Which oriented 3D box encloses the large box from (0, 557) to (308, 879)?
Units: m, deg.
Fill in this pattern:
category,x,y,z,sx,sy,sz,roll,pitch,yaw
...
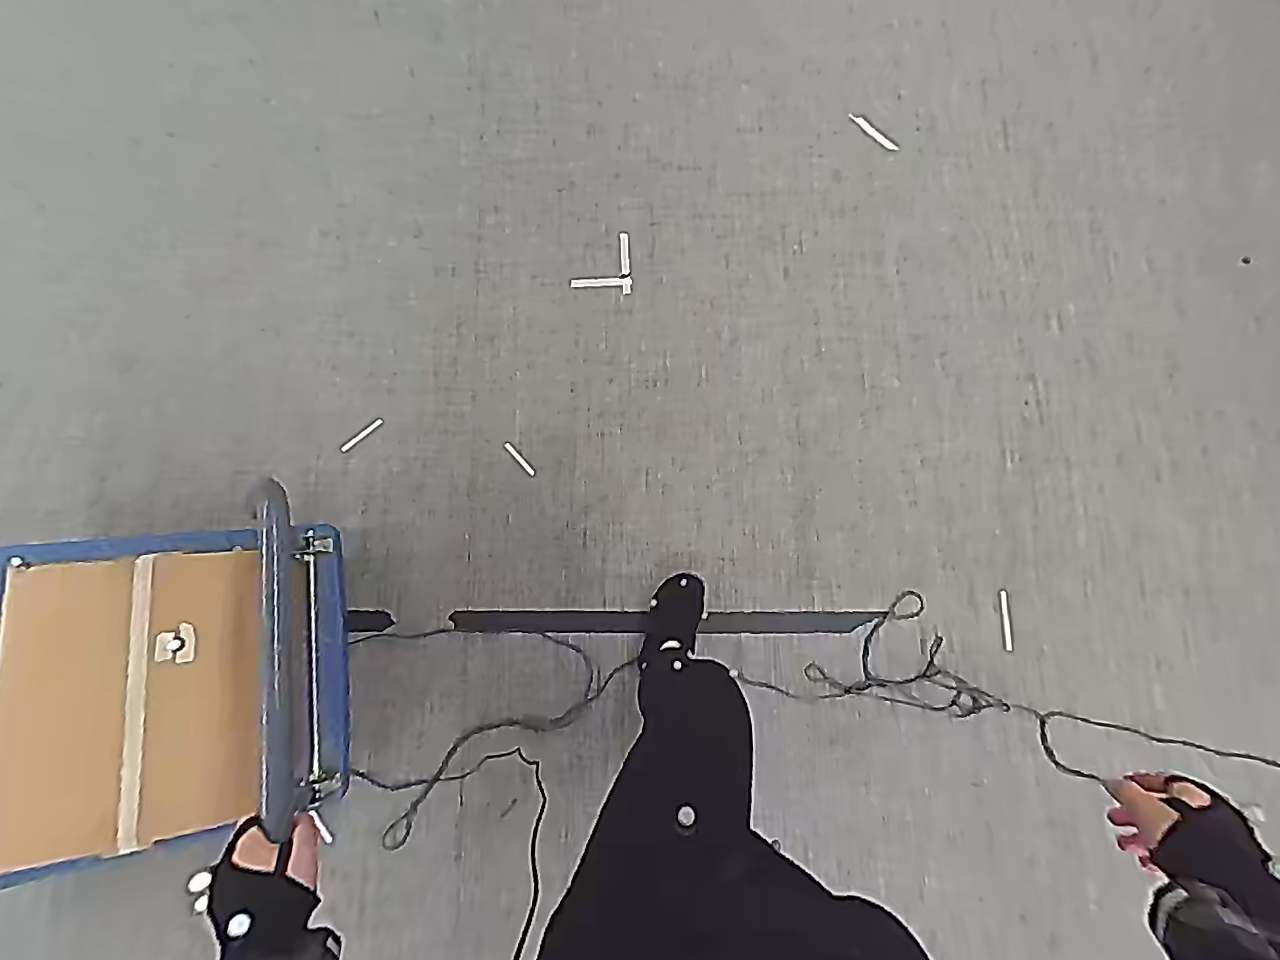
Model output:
category,x,y,z,sx,sy,sz,roll,pitch,yaw
large box,-0.783,0.361,0.935,0.320,0.320,0.408,-2,77,-23
